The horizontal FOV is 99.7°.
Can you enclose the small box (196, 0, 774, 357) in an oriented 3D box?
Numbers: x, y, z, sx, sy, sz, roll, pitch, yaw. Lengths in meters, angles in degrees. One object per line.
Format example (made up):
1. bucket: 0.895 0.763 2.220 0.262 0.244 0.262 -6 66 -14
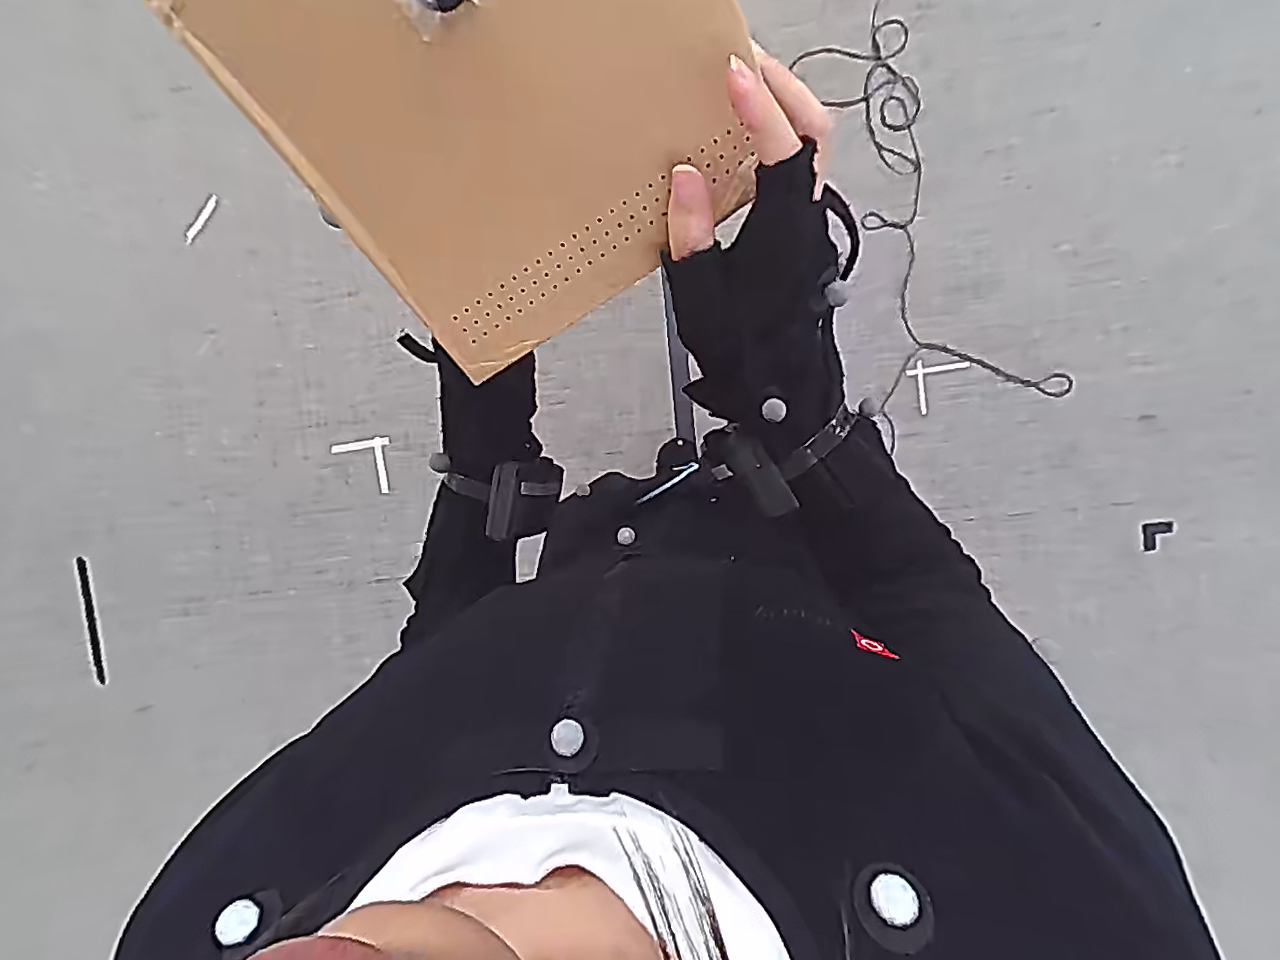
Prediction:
1. small box: -0.059 -0.195 0.286 0.179 0.168 0.176 -31 126 8
